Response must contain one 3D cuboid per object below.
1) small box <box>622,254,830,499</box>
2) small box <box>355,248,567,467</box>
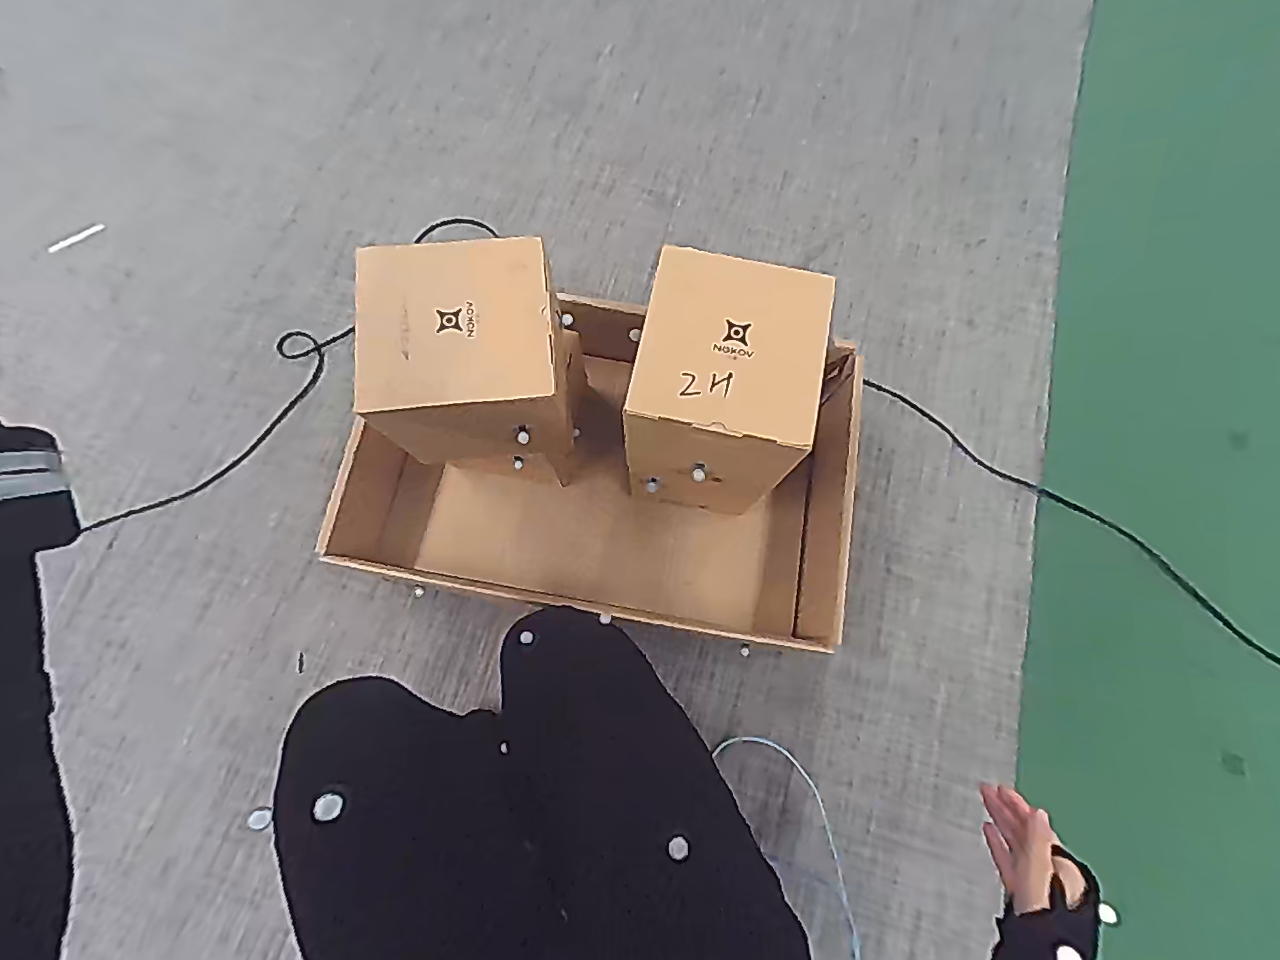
[{"bbox_3d":[0.080,-0.095,0.562,0.168,0.176,0.179,12,76,3],"label":"small box"},{"bbox_3d":[-0.171,-0.116,0.568,0.179,0.176,0.168,-5,76,-3],"label":"small box"}]
